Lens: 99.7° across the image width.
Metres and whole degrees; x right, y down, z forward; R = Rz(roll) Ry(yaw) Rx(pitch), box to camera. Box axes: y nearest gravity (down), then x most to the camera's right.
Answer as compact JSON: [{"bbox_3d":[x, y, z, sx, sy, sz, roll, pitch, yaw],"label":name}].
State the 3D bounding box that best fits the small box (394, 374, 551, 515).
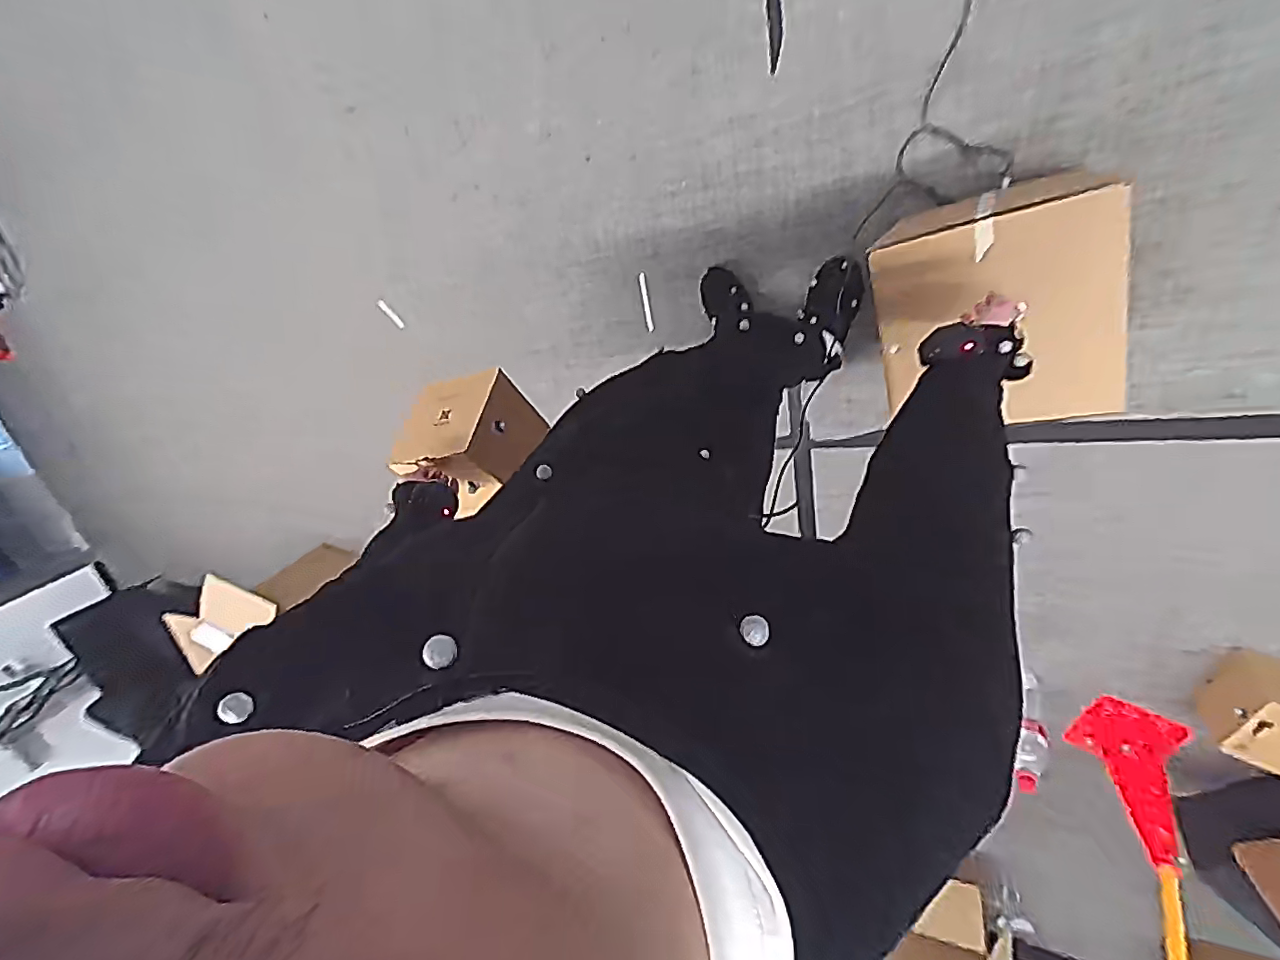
[{"bbox_3d":[-0.276,-0.050,0.933,0.168,0.179,0.176,-6,143,25],"label":"small box"}]
